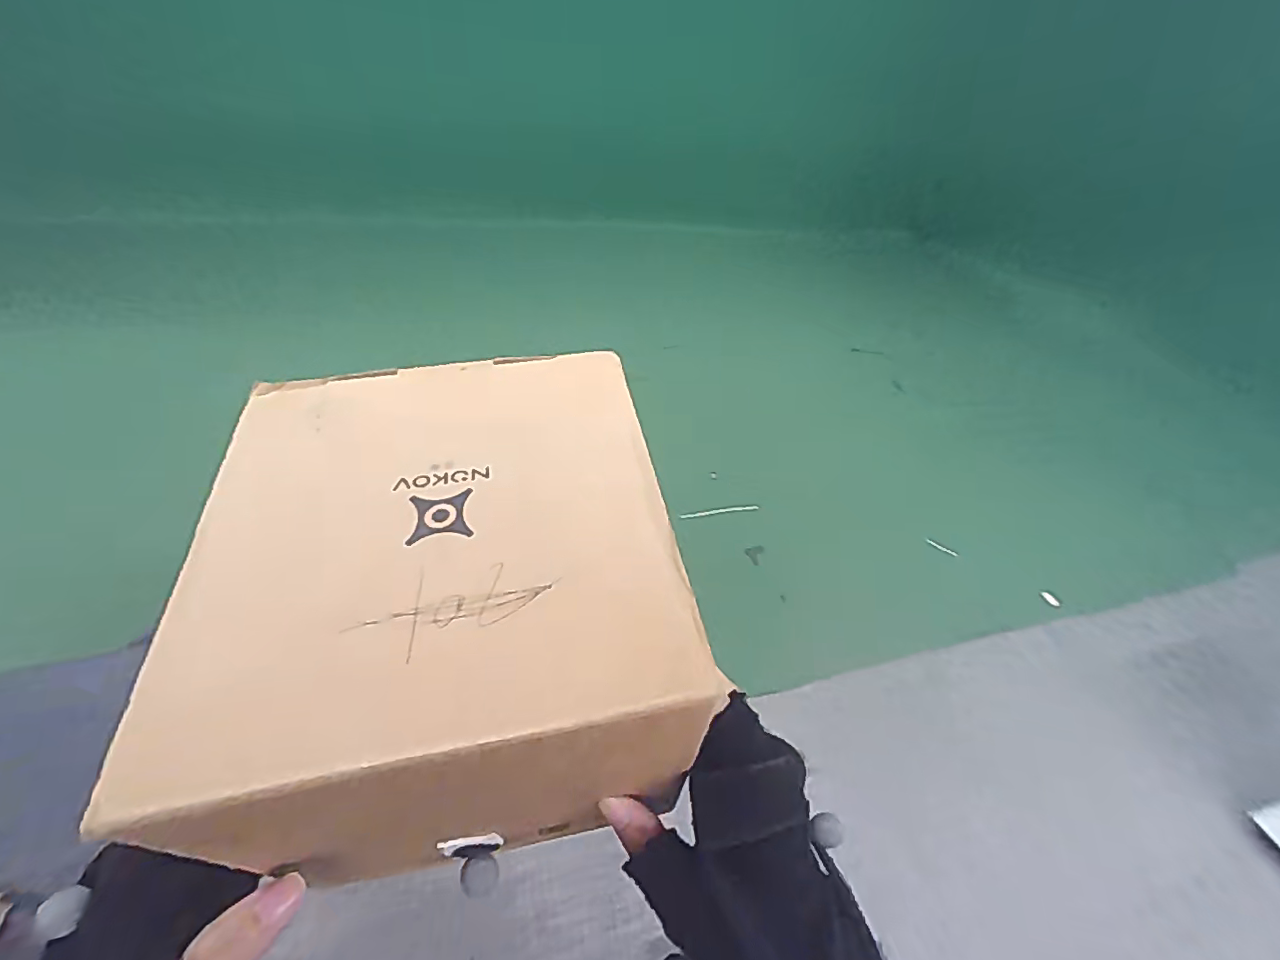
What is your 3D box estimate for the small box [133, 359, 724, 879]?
[{"bbox_3d":[-0.072,0.067,0.266,0.168,0.176,0.179,-9,51,-8],"label":"small box"}]
